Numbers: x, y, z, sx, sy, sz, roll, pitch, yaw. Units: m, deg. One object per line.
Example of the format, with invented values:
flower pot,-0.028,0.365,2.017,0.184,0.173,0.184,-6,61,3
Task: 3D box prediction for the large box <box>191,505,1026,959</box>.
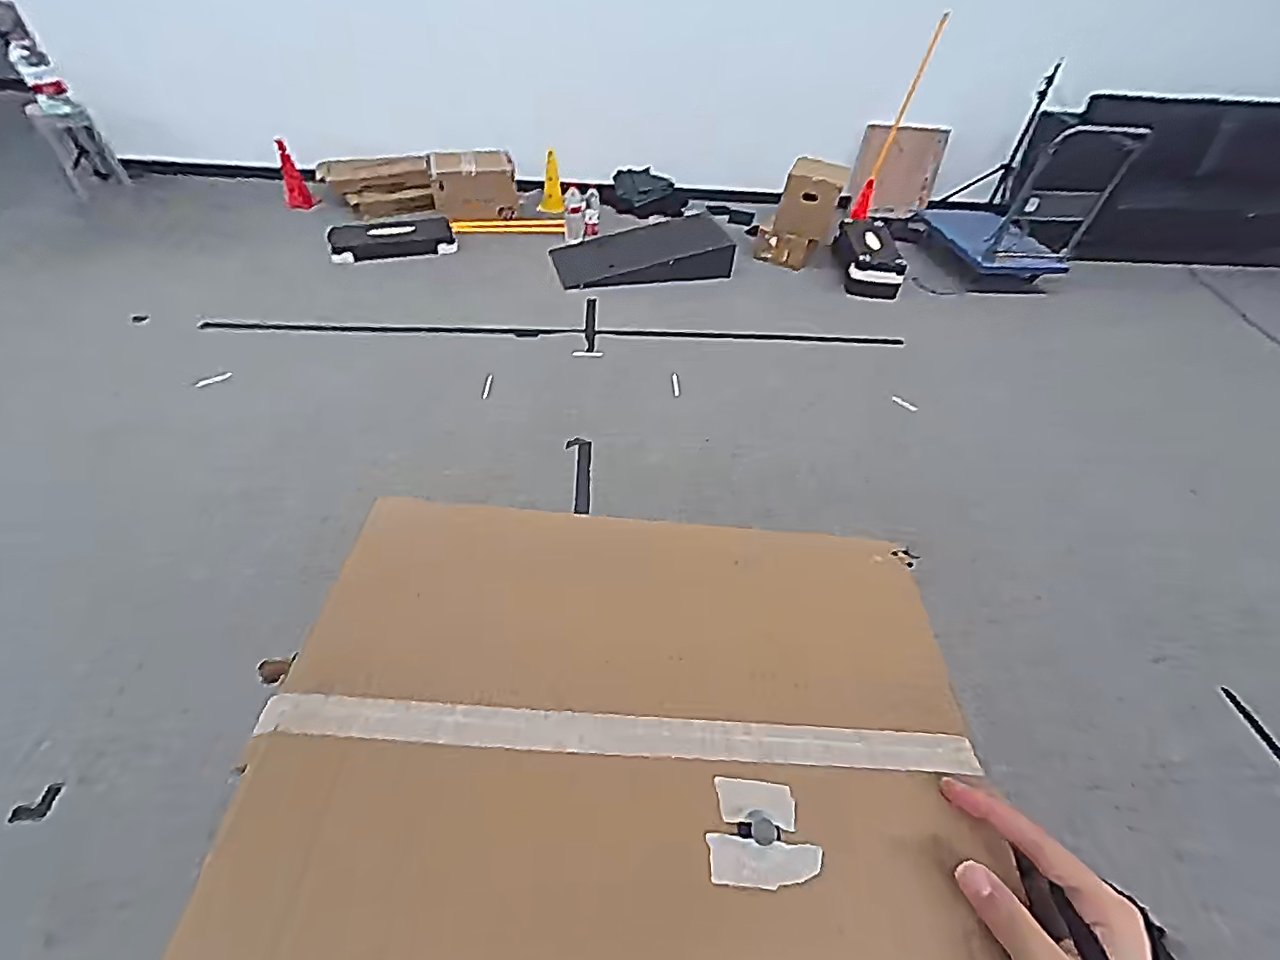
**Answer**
large box,-0.017,0.247,0.435,0.408,0.320,0.320,6,49,-3
